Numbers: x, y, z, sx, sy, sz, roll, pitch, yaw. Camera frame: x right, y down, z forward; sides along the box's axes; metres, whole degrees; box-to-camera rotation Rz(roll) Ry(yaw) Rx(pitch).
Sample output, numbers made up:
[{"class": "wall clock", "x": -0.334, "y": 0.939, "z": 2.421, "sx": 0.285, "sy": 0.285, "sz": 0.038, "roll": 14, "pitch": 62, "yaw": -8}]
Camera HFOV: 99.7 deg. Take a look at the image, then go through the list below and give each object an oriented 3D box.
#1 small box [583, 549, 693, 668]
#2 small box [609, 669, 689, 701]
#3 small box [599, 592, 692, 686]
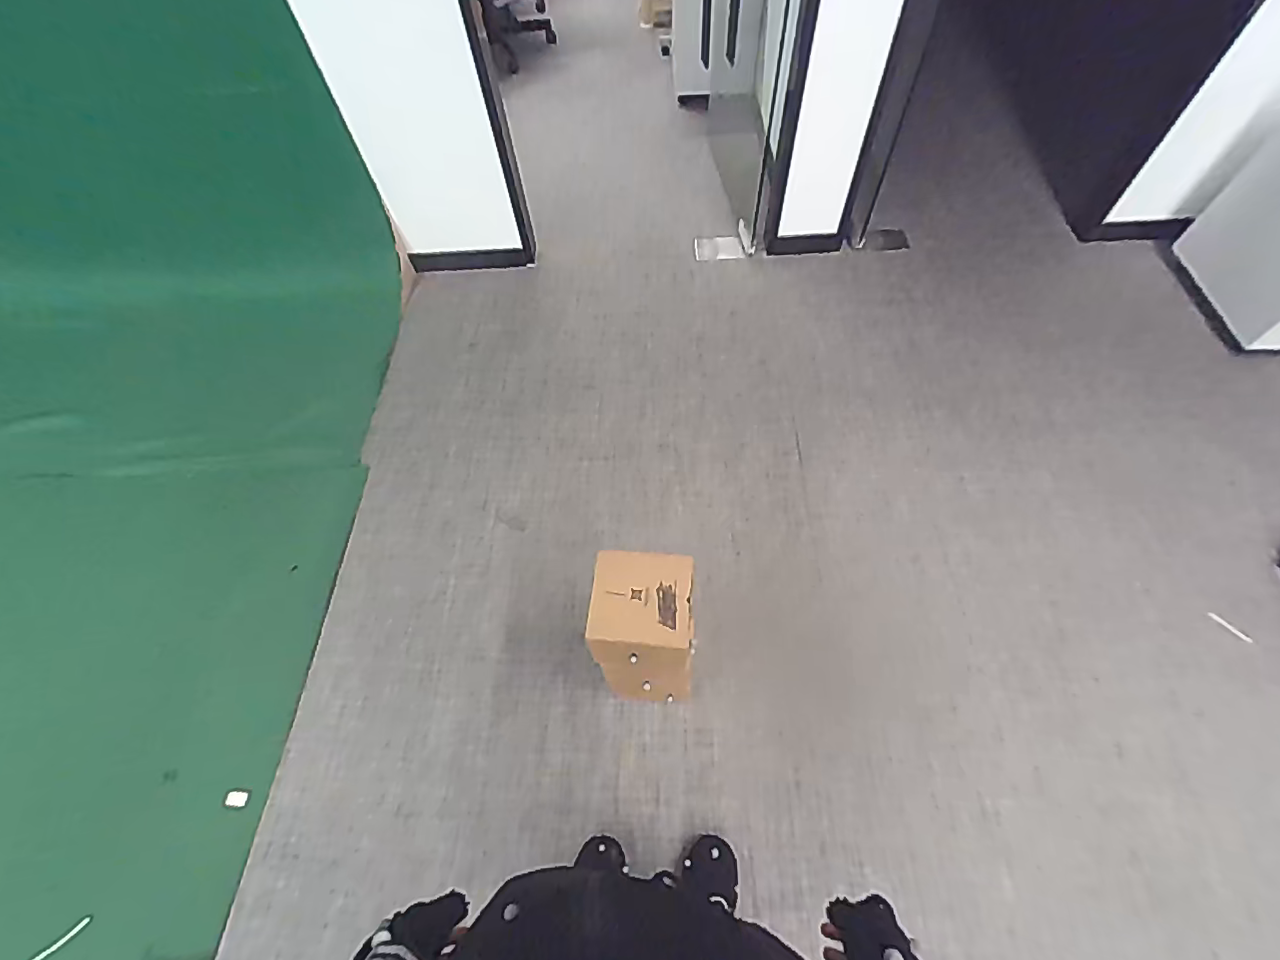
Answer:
[{"class": "small box", "x": 0.005, "y": 0.244, "z": 1.007, "sx": 0.179, "sy": 0.176, "sz": 0.168, "roll": 4, "pitch": 58, "yaw": 8}, {"class": "small box", "x": 0.027, "y": 0.421, "z": 1.283, "sx": 0.179, "sy": 0.176, "sz": 0.168, "roll": 0, "pitch": 58, "yaw": 5}, {"class": "small box", "x": 0.016, "y": 0.332, "z": 1.146, "sx": 0.179, "sy": 0.176, "sz": 0.168, "roll": 3, "pitch": 58, "yaw": 4}]
